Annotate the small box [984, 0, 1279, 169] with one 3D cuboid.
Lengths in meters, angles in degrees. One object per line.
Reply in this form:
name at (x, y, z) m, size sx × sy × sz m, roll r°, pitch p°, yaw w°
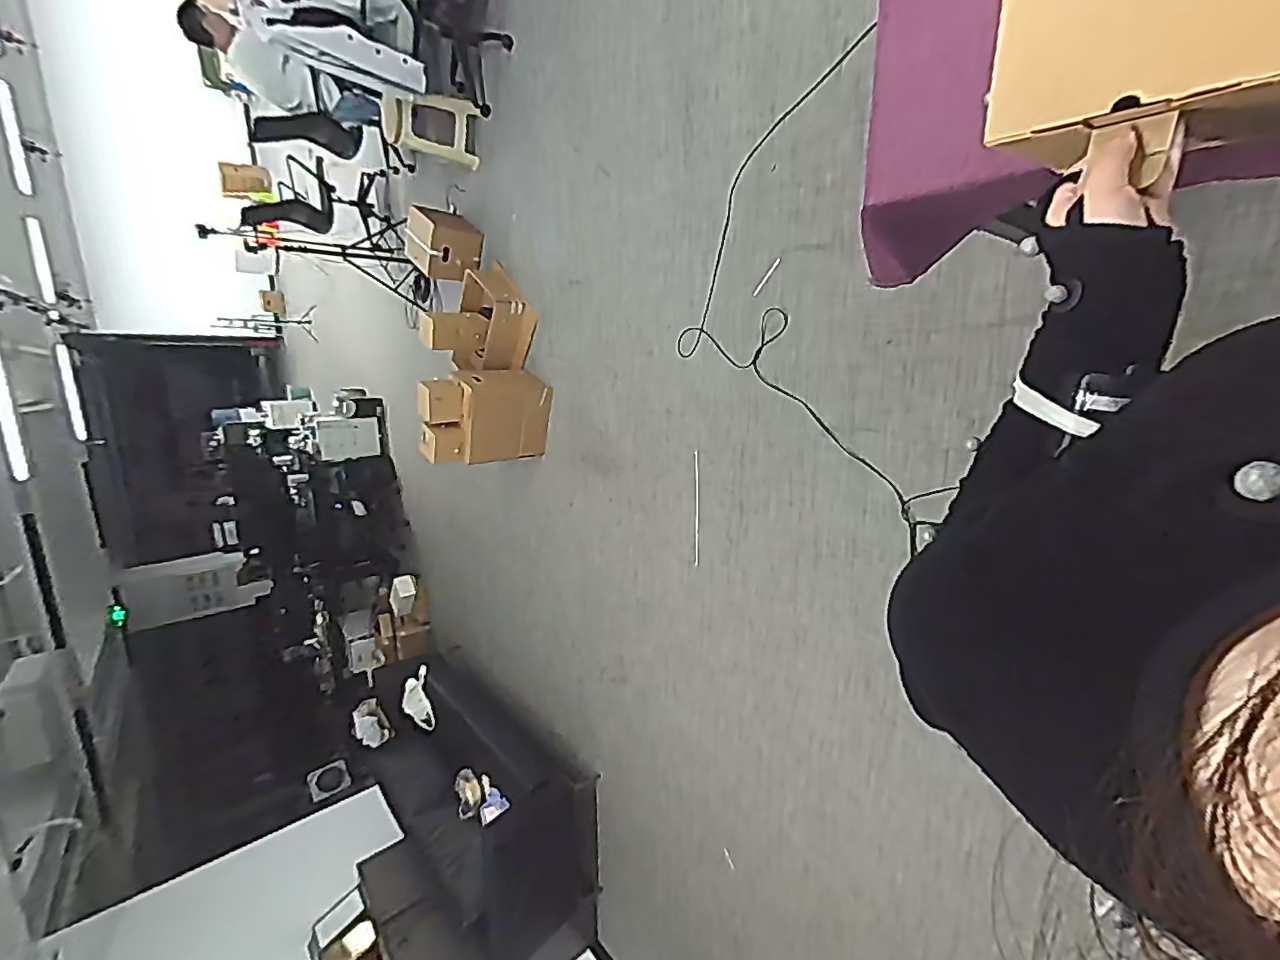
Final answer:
small box at (0.378, -0.342, 0.383) m, size 0.168 × 0.176 × 0.179 m, roll 19°, pitch 118°, yaw 49°
